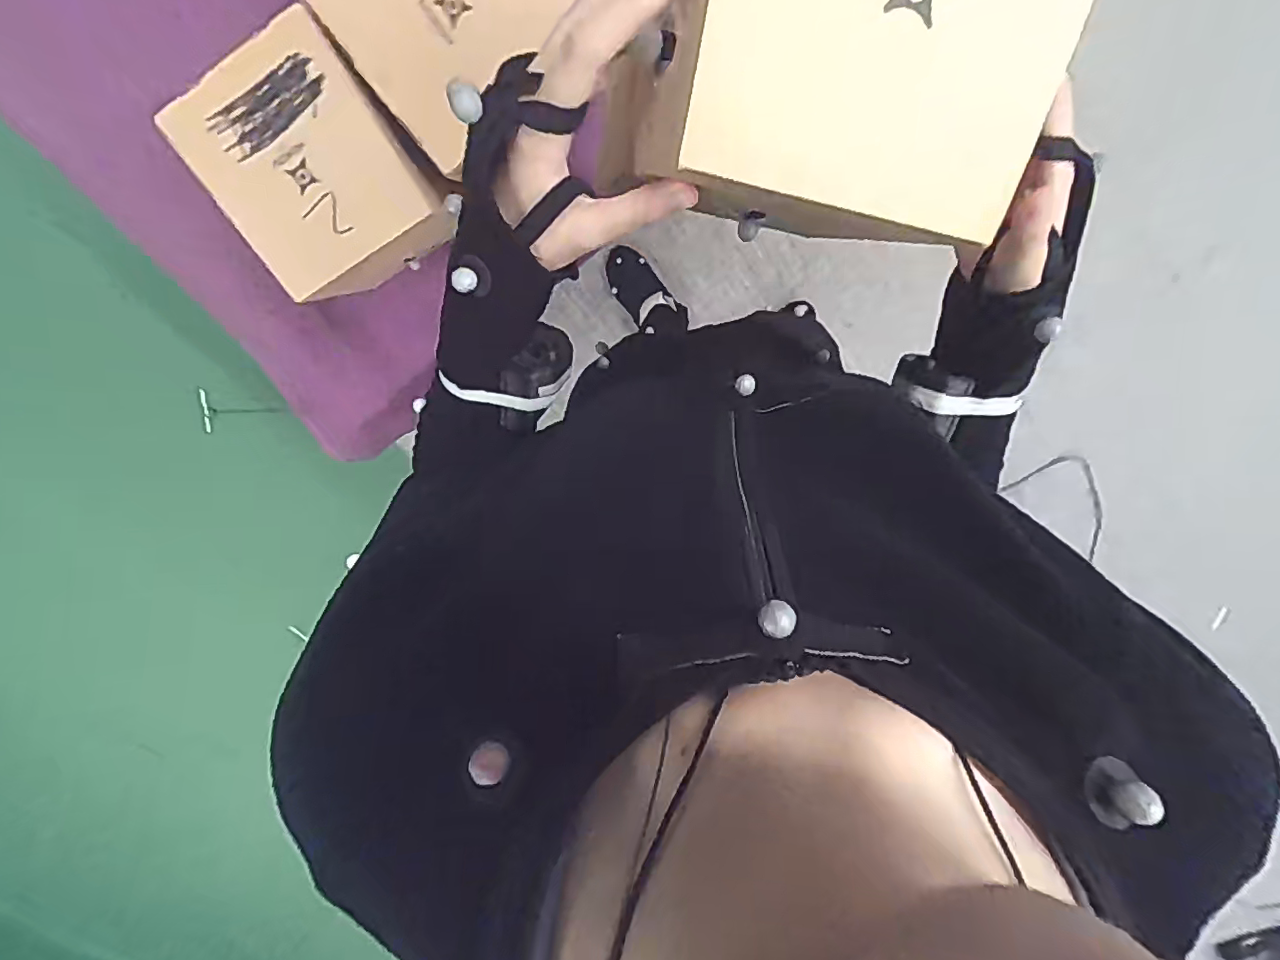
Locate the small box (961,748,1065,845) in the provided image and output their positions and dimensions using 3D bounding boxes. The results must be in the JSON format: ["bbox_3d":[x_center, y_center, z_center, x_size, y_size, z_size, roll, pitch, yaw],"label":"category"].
[{"bbox_3d":[1.141,0.971,1.668,0.179,0.176,0.168,-38,106,16],"label":"small box"}]
